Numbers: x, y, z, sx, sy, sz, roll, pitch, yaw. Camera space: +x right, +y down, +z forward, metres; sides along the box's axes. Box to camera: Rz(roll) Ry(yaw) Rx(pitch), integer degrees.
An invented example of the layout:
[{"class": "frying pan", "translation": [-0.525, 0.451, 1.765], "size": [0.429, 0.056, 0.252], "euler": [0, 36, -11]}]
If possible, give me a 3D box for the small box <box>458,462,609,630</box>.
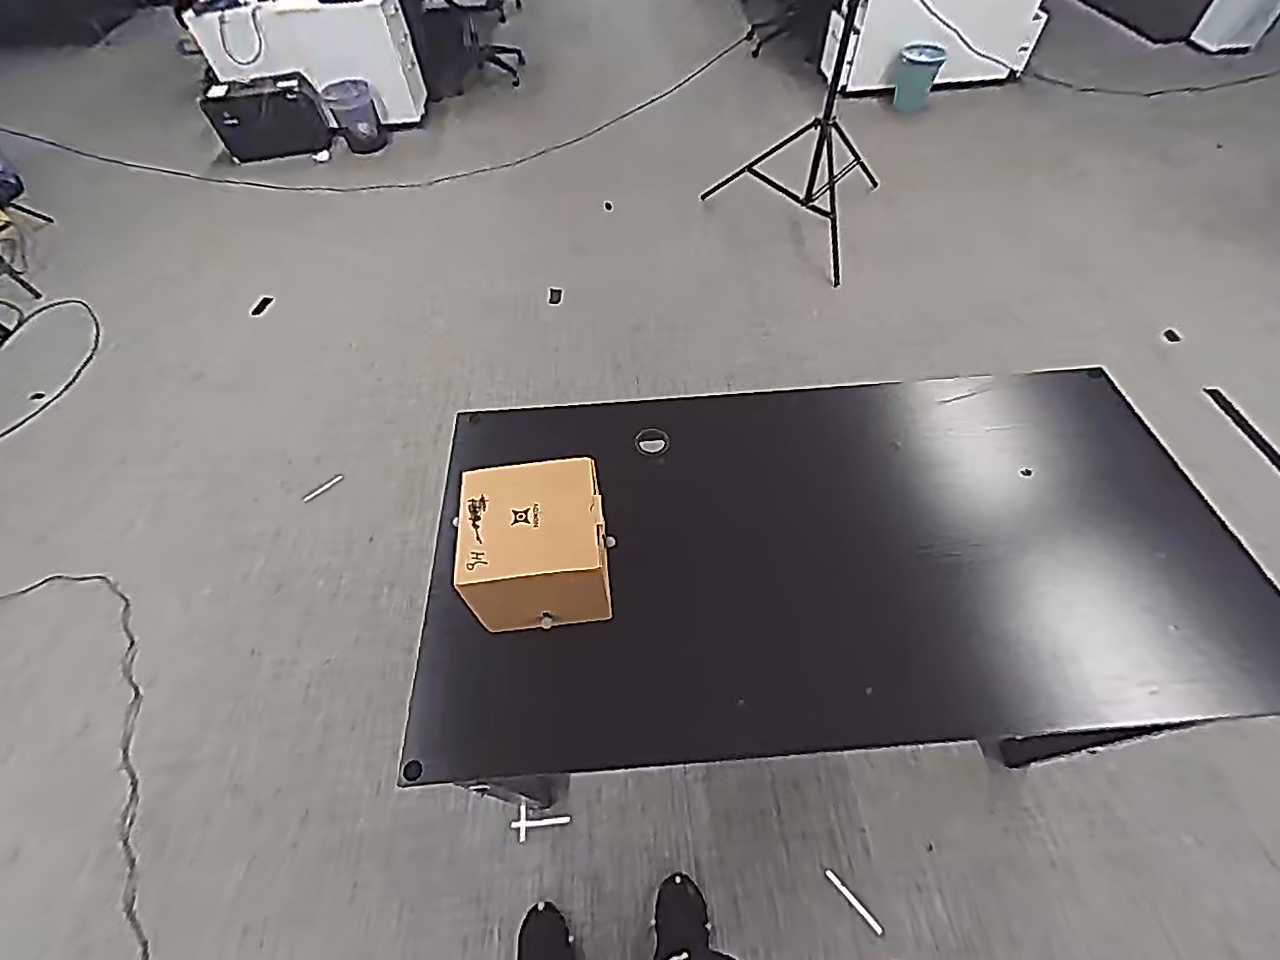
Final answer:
[{"class": "small box", "translation": [-0.134, 0.095, 0.745], "size": [0.179, 0.176, 0.168], "euler": [-6, 55, -3]}]
